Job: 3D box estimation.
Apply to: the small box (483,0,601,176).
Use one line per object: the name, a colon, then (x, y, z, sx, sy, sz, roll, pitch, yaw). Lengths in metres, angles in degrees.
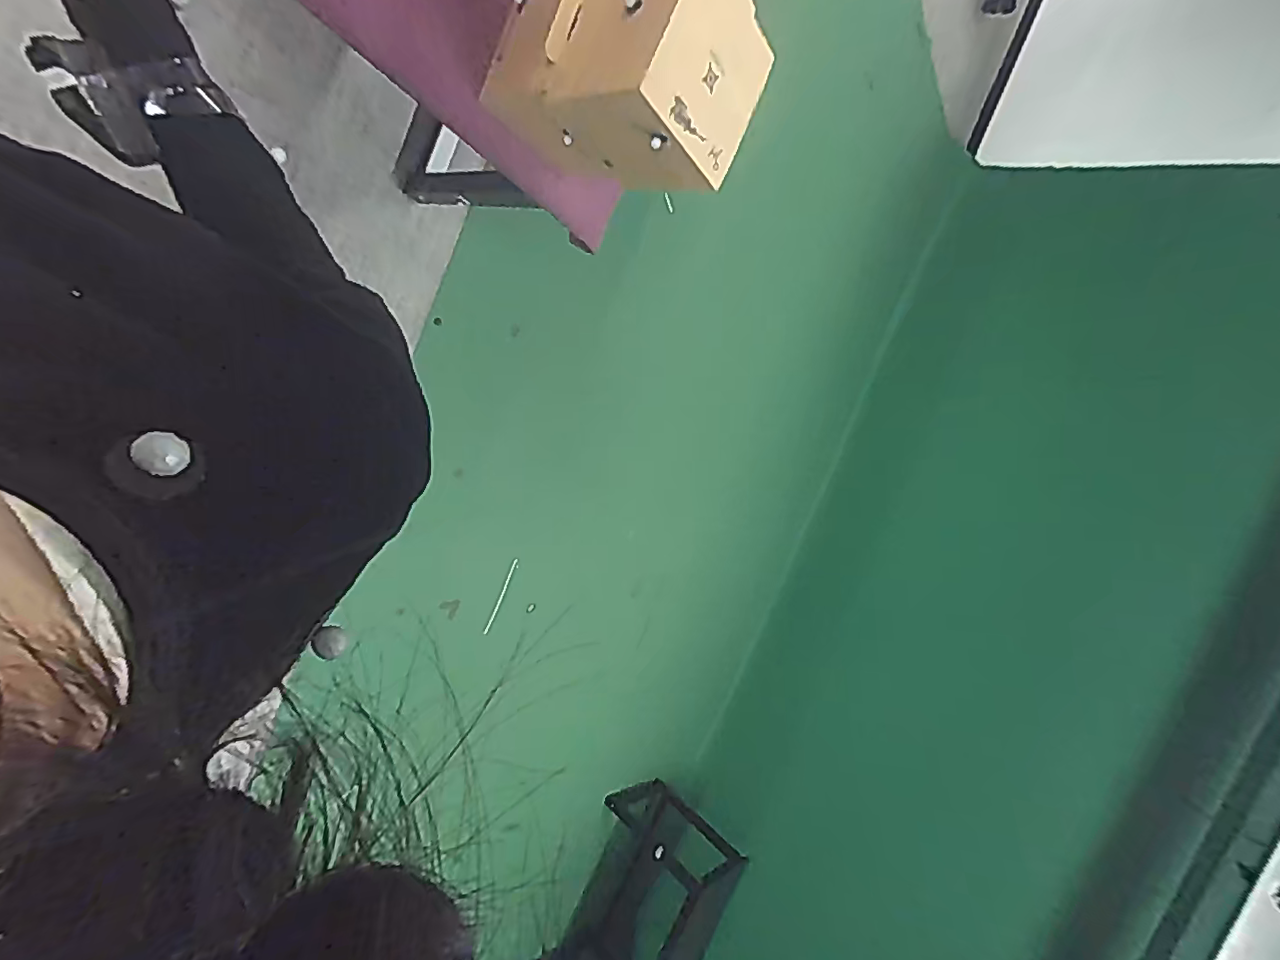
small box: (-0.087, -0.546, 0.752, 0.179, 0.176, 0.168, 17, 97, -51)

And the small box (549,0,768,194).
small box: (0.020, -0.474, 0.649, 0.168, 0.176, 0.179, 21, 93, -50)
